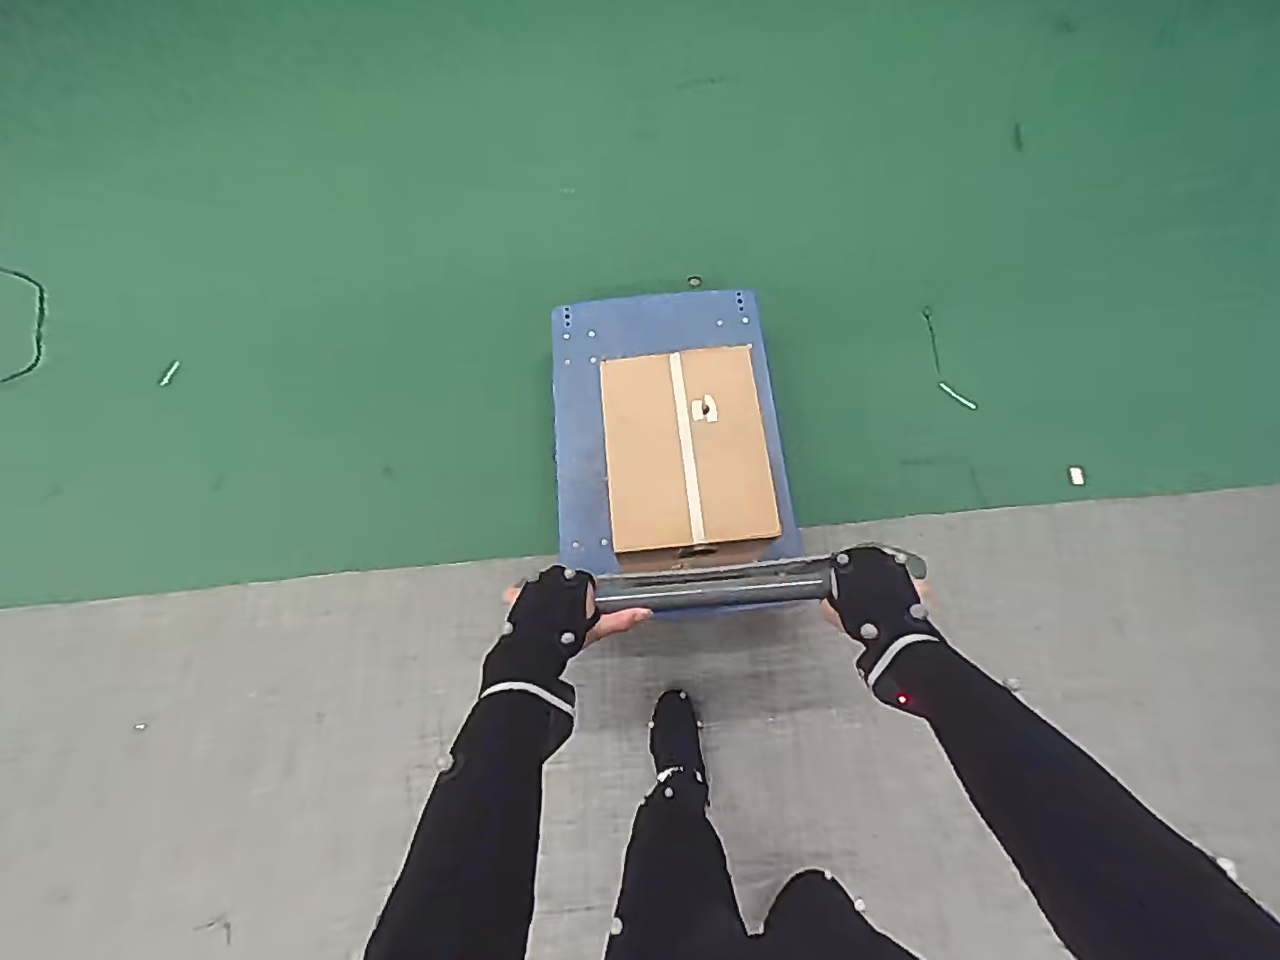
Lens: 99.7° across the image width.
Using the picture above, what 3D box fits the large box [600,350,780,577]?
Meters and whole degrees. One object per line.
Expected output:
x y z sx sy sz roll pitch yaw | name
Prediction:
0.095 -0.020 1.200 0.320 0.320 0.408 -5 71 0 | large box
